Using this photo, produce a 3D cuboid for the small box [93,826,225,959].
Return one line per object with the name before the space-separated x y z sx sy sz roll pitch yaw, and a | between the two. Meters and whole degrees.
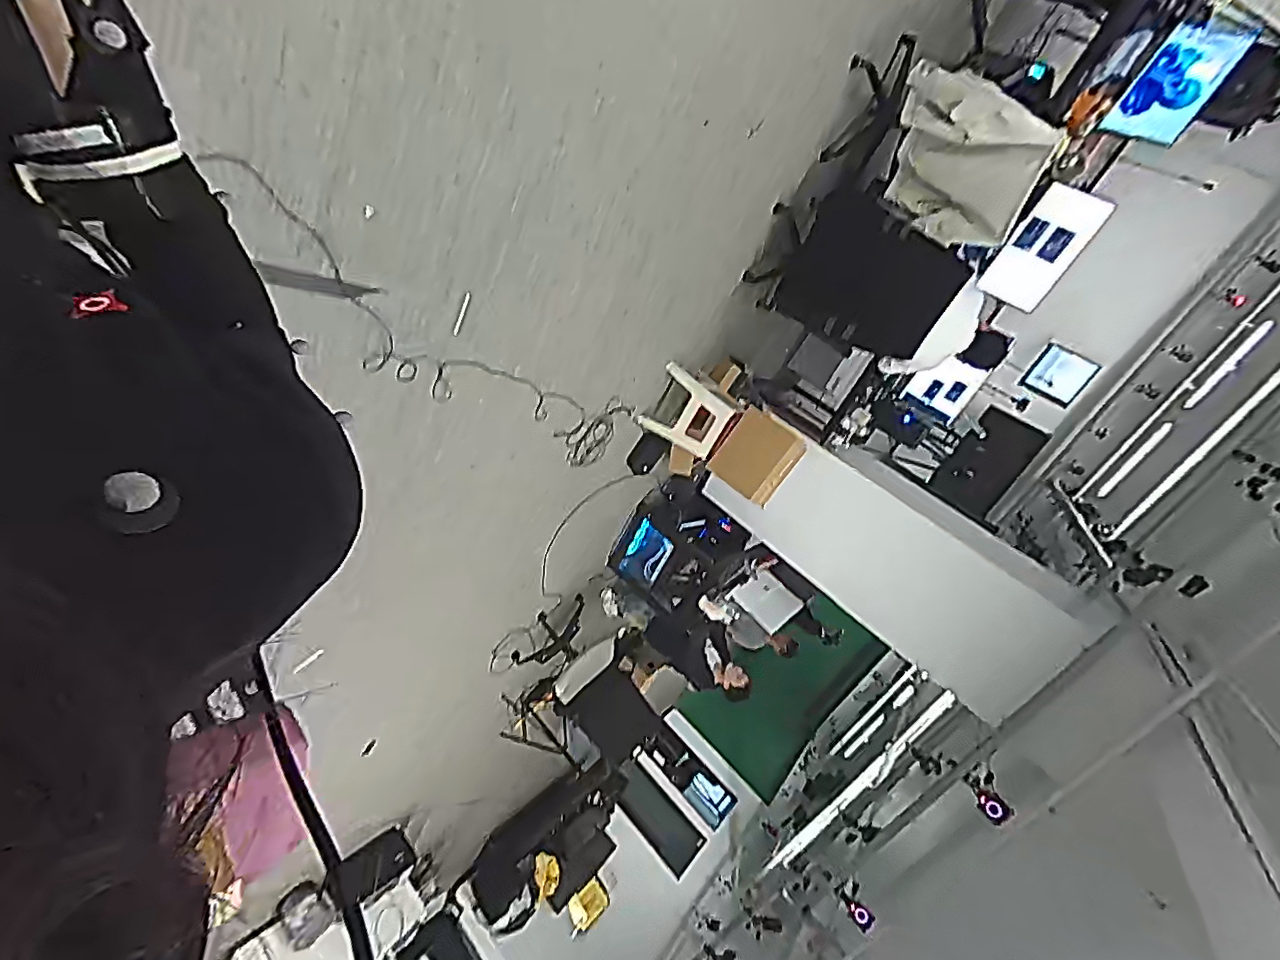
small box | -1.005 0.882 1.132 0.179 0.176 0.168 -18 142 -50
